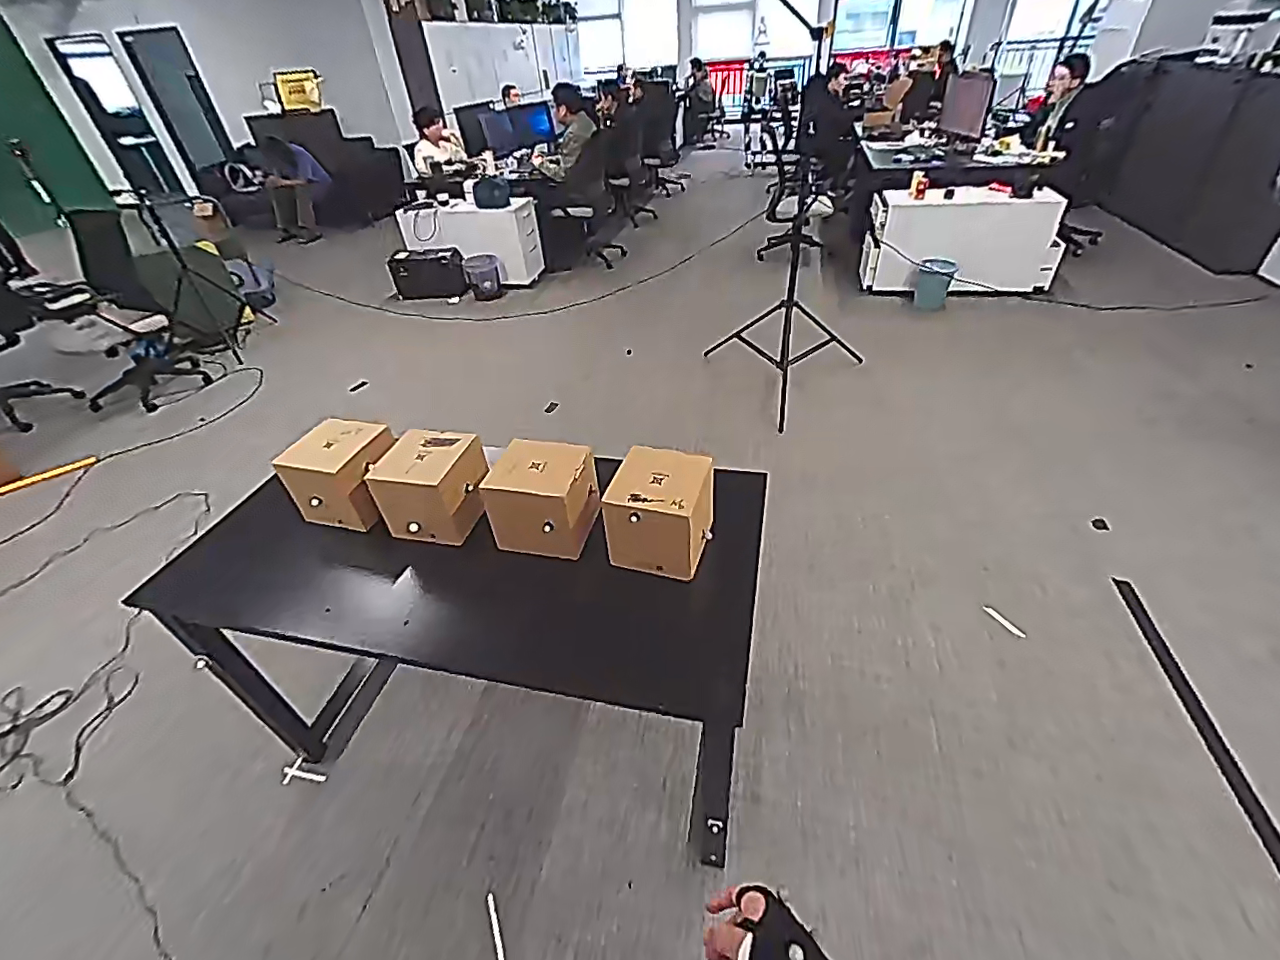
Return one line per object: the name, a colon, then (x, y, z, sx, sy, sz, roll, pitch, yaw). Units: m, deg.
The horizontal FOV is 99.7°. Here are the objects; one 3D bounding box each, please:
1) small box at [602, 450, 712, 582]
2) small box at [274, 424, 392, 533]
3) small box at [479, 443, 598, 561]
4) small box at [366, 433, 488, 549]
small box: (0.039, 0.066, 1.044, 0.168, 0.176, 0.179, 8, 40, 17)
small box: (-0.653, -0.003, 1.207, 0.168, 0.176, 0.179, 8, 40, 14)
small box: (-0.194, 0.045, 1.101, 0.179, 0.176, 0.168, 5, 38, 13)
small box: (-0.436, 0.021, 1.153, 0.168, 0.176, 0.179, 5, 41, 12)
